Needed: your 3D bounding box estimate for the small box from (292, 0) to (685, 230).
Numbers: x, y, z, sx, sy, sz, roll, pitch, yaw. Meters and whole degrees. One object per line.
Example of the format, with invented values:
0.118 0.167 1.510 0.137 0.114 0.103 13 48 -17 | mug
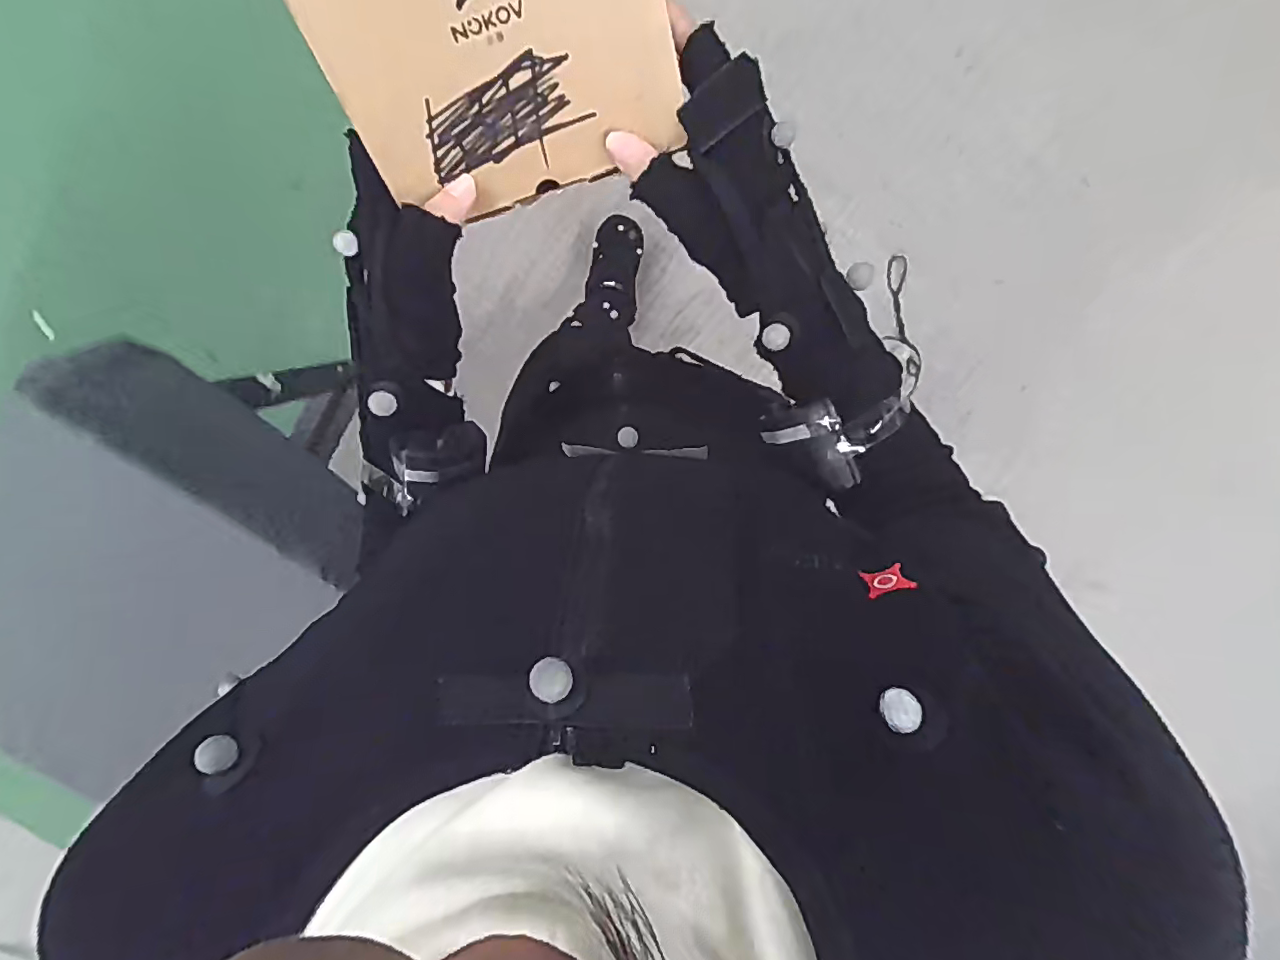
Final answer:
-0.078 -0.281 0.308 0.168 0.176 0.179 -15 132 12 | small box
